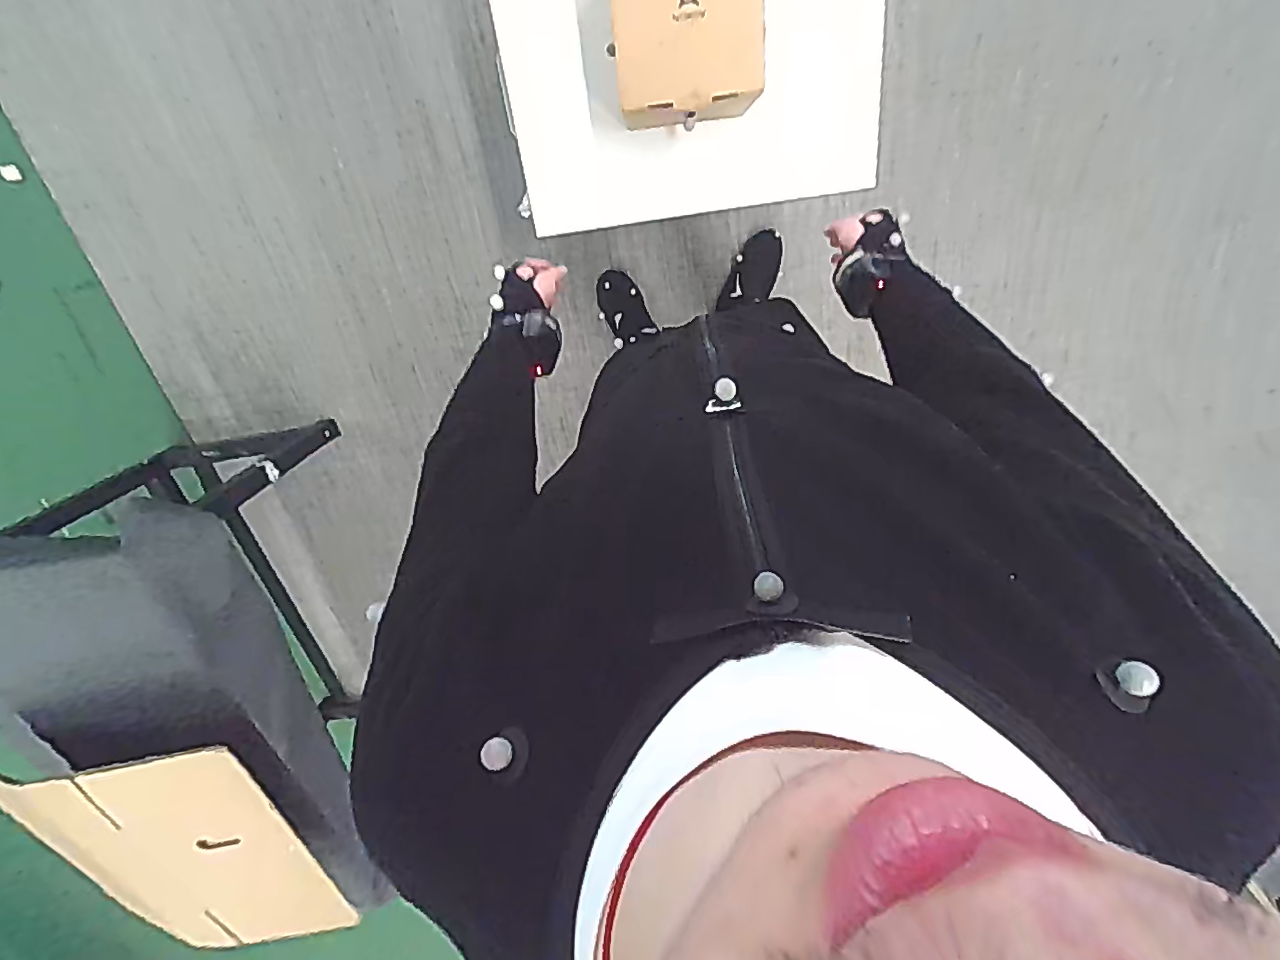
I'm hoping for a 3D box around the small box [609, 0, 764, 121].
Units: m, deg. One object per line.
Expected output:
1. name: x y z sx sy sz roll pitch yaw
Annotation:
1. small box: 0.054 -0.550 0.649 0.168 0.176 0.179 -6 116 6
